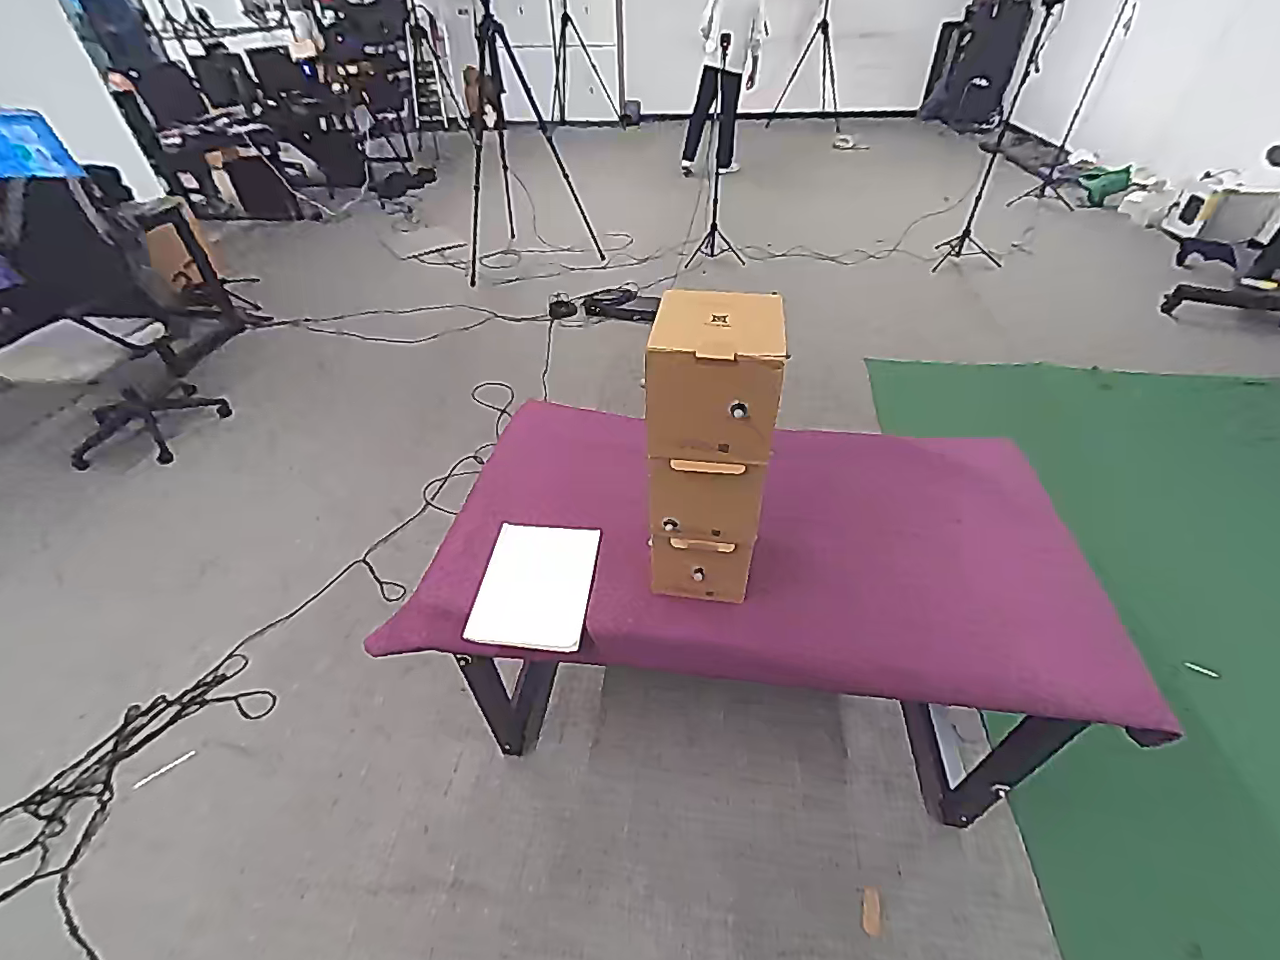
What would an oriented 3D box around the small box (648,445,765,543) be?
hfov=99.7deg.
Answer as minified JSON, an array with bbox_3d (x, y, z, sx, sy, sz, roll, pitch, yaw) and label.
[{"bbox_3d":[0.108,-0.019,0.862,0.168,0.176,0.179,5,41,8],"label":"small box"}]

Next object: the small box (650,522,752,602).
[{"bbox_3d":[0.114,0.100,0.977,0.168,0.176,0.179,5,43,7],"label":"small box"}]

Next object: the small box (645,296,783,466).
[{"bbox_3d":[0.104,-0.138,0.750,0.168,0.176,0.179,6,42,8],"label":"small box"}]
